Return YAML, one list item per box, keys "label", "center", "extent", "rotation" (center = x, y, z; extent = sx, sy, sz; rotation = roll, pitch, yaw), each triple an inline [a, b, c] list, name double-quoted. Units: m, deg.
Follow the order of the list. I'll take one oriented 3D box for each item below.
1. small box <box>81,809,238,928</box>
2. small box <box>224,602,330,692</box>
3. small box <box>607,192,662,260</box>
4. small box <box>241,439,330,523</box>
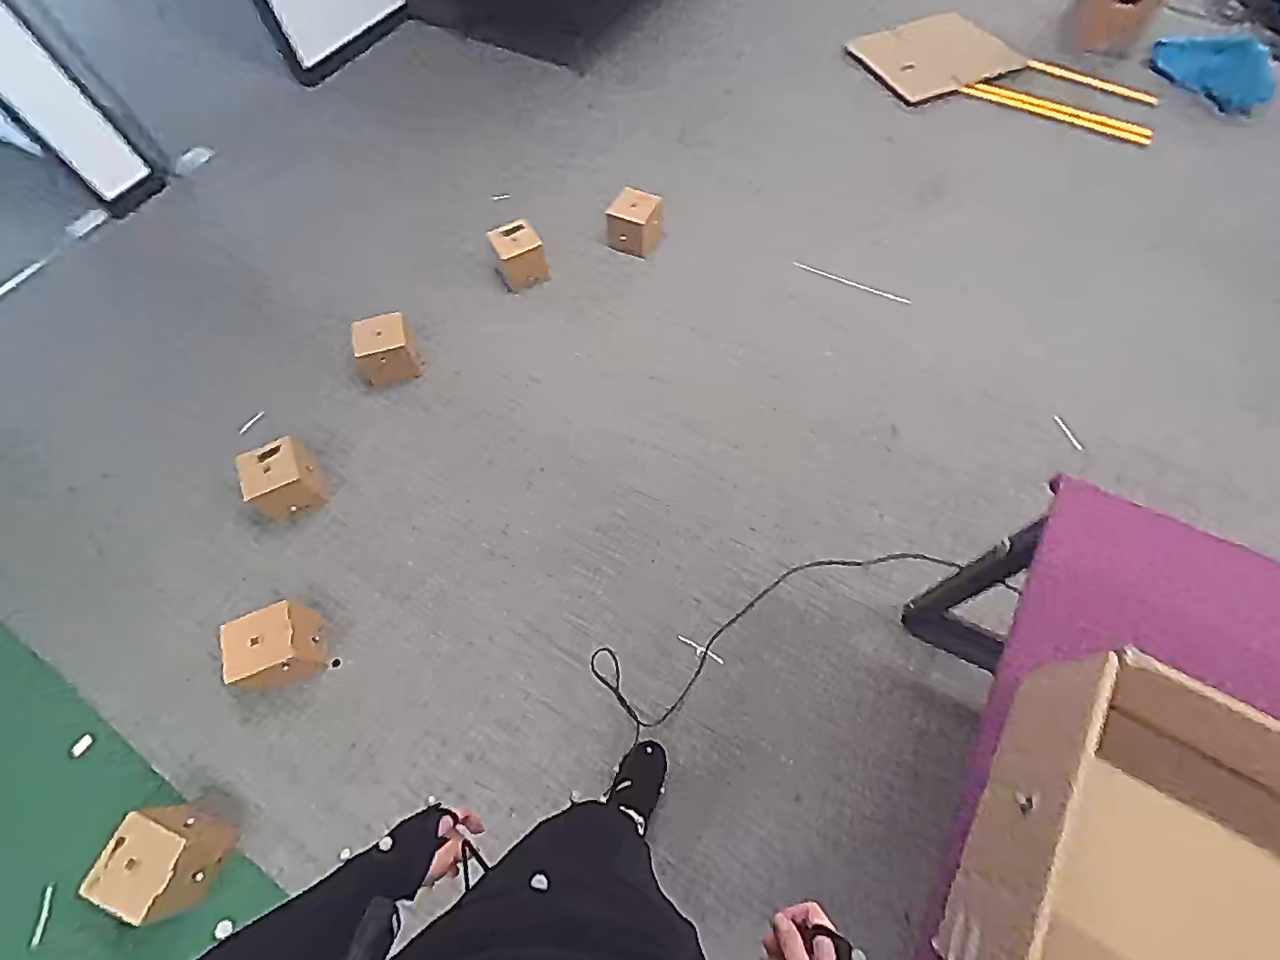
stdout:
- label: "small box"
  center: [-1.104, 0.891, 1.261]
  extent: [0.179, 0.176, 0.168]
  rotation: [17, 65, 11]
- label: "small box"
  center: [-0.990, 0.462, 1.481]
  extent: [0.179, 0.176, 0.168]
  rotation: [-22, 63, -10]
- label: "small box"
  center: [-0.016, -1.033, 2.209]
  extent: [0.168, 0.176, 0.179]
  rotation: [24, 66, 14]
- label: "small box"
  center: [-1.125, 0.007, 1.723]
  extent: [0.168, 0.176, 0.179]
  rotation: [-25, 65, -10]
